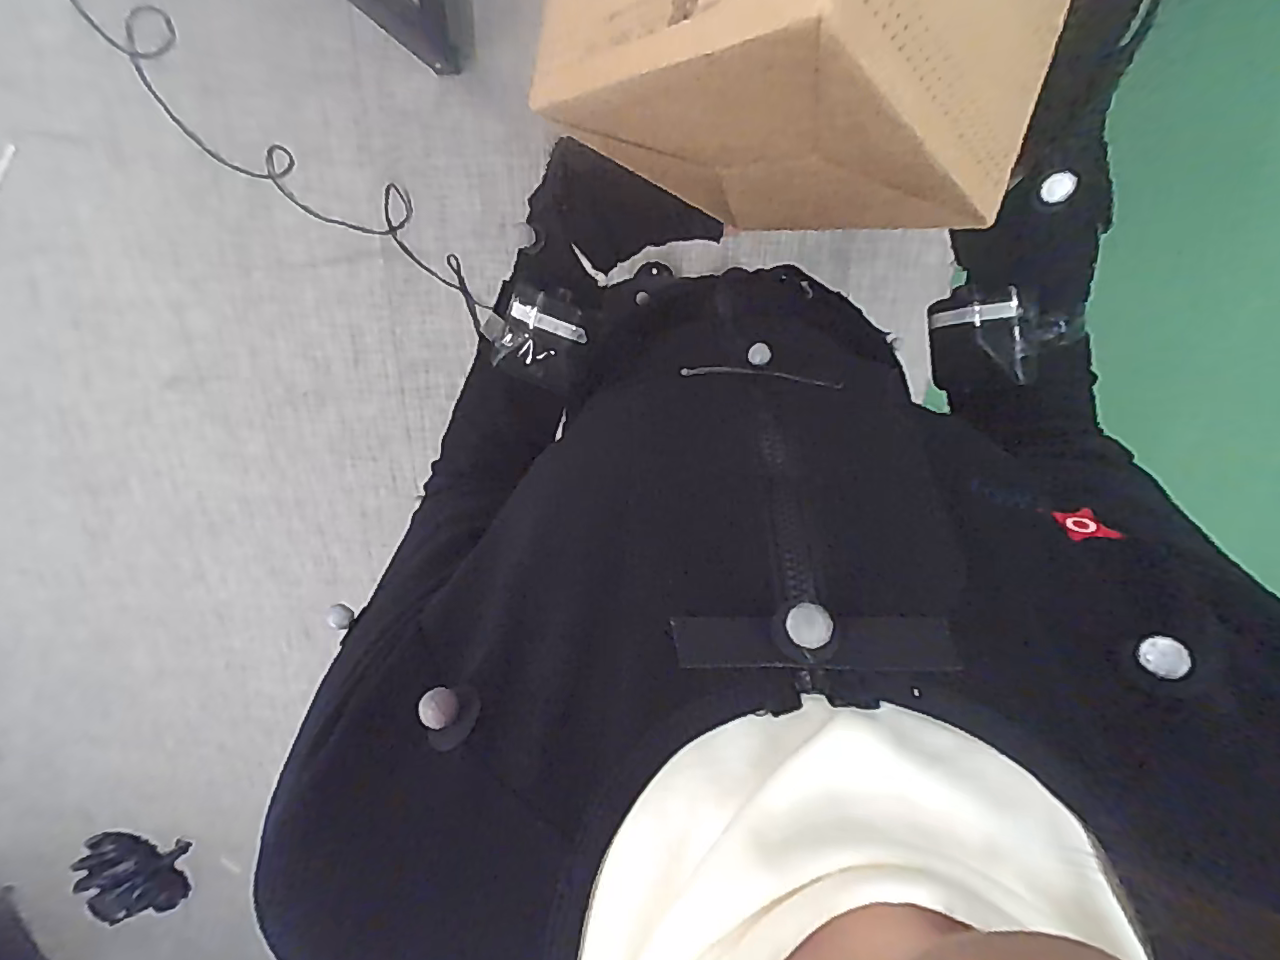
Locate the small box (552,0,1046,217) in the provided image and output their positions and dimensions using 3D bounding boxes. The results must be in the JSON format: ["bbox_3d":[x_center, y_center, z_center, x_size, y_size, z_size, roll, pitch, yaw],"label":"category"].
[{"bbox_3d":[0.080,-0.242,0.262,0.179,0.168,0.176,1,107,-43],"label":"small box"}]
